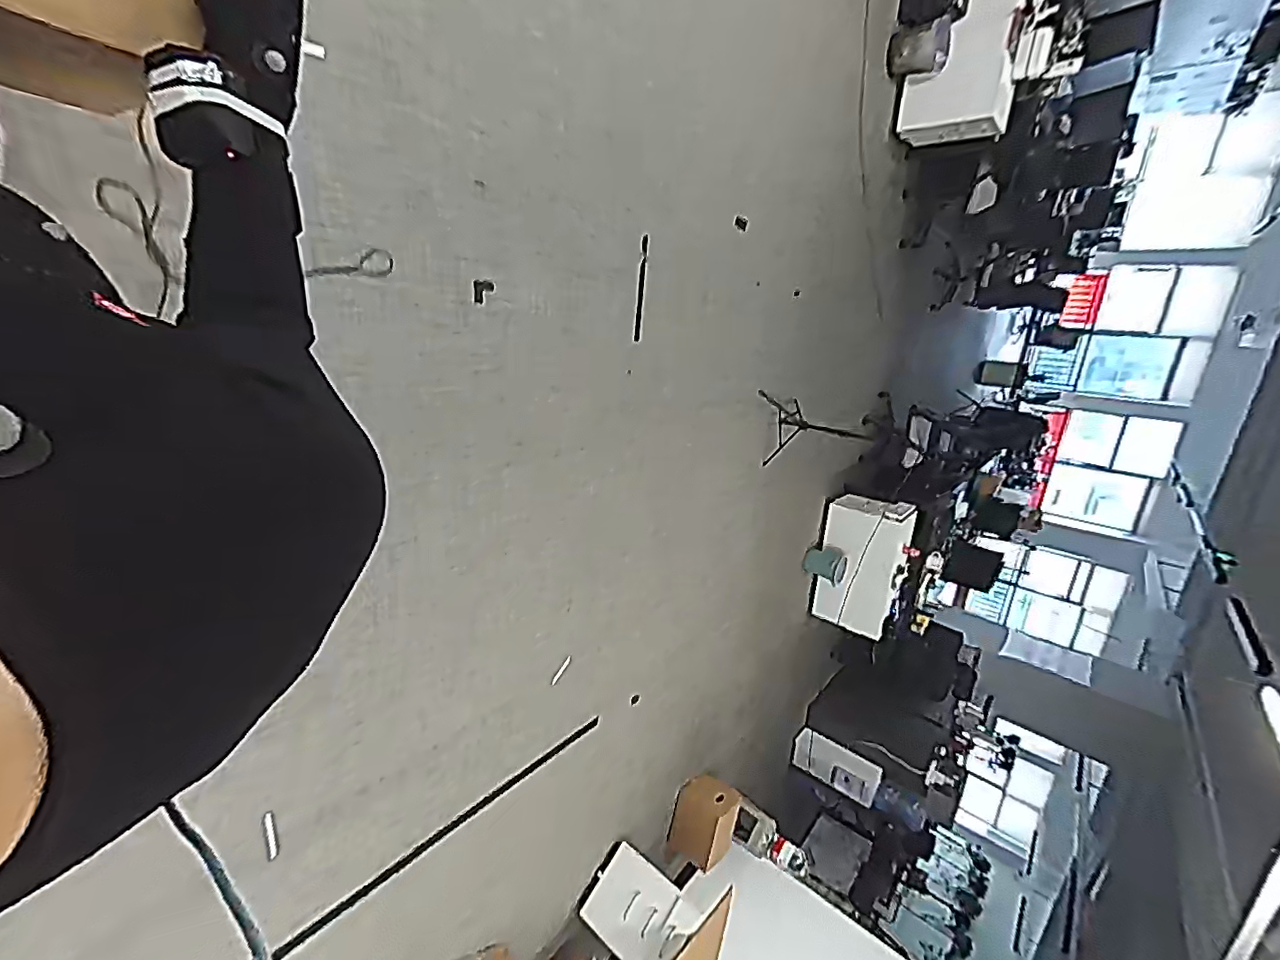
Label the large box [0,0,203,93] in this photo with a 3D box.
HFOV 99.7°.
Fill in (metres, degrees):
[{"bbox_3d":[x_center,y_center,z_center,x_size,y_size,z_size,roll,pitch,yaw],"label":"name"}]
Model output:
[{"bbox_3d":[-0.546,-0.474,0.290,0.408,0.320,0.320,-14,119,-52],"label":"large box"}]
